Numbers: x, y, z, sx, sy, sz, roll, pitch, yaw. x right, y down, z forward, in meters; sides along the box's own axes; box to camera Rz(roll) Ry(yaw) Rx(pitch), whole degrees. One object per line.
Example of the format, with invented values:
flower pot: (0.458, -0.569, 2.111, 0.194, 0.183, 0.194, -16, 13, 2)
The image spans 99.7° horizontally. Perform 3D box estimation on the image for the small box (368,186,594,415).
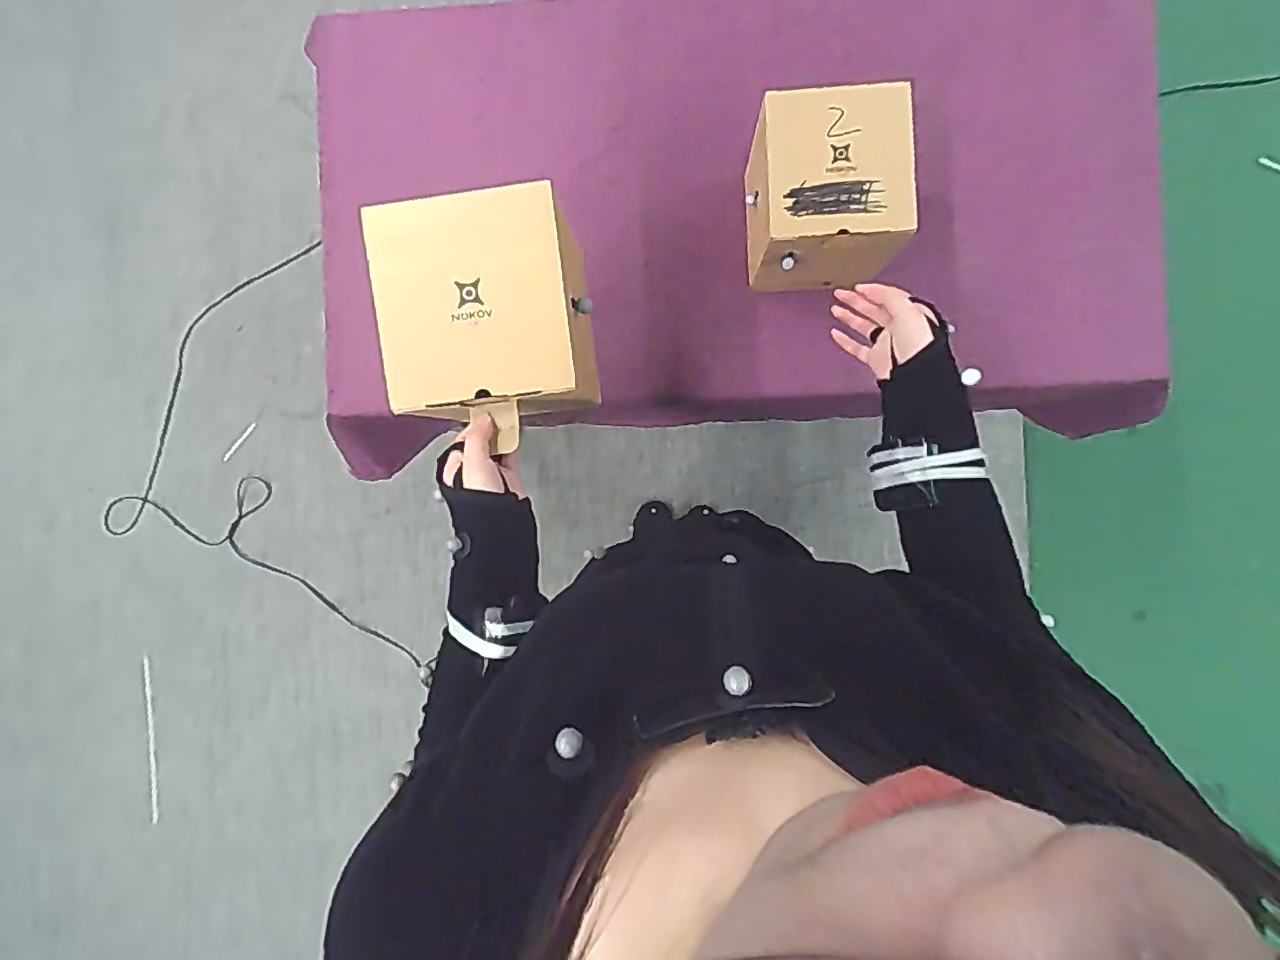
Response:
small box: (-0.145, -0.165, 0.553, 0.168, 0.176, 0.179, -7, 95, 3)
